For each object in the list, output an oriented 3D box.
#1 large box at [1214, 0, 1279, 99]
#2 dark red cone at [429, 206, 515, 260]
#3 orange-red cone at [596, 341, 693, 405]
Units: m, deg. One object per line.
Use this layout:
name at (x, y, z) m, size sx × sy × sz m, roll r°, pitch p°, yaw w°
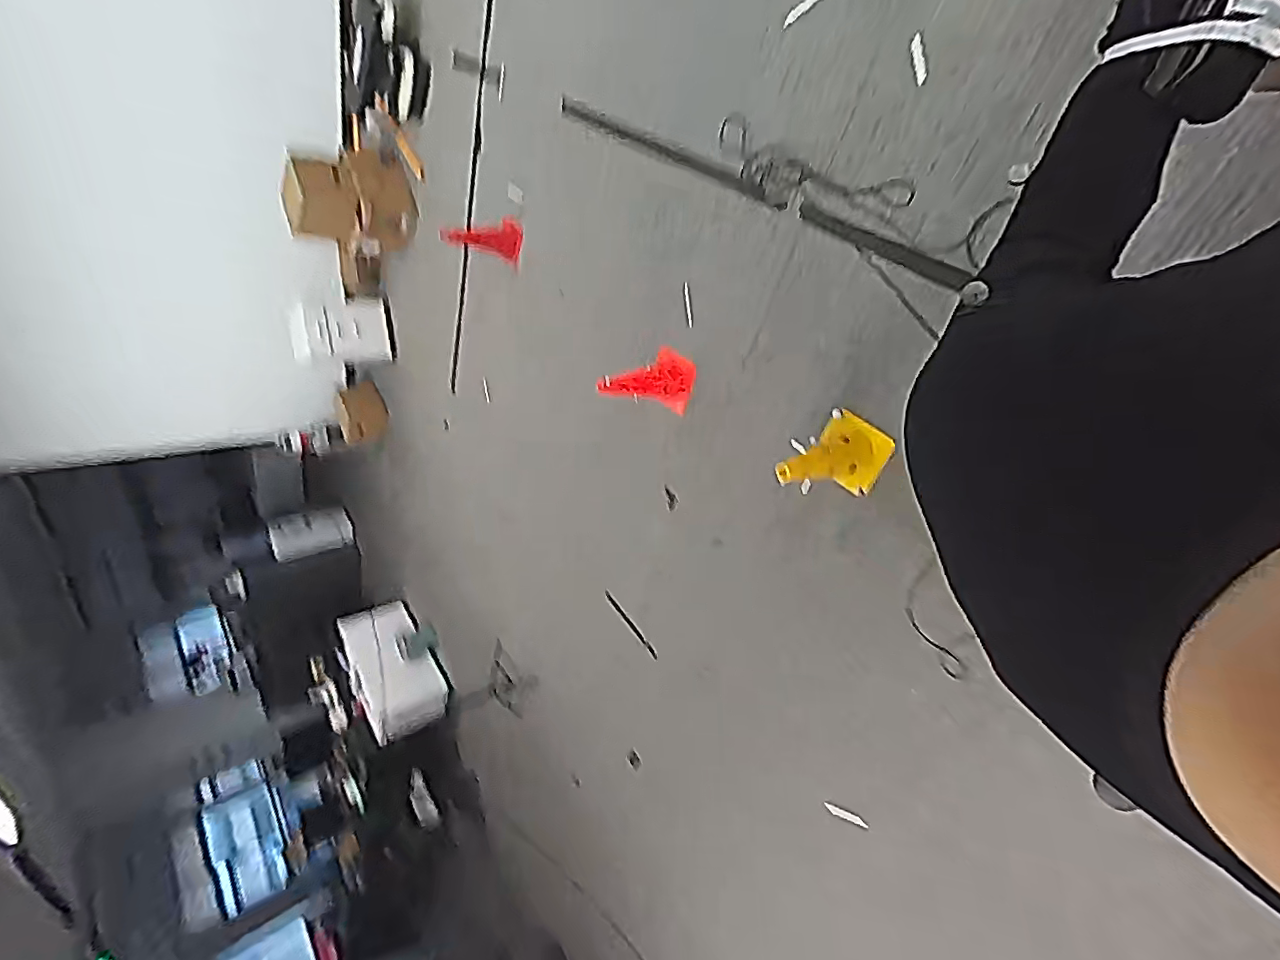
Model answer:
large box at (0.613, -0.391, 0.246) m, size 0.408 × 0.320 × 0.320 m, roll 29°, pitch 129°, yaw 38°
dark red cone at (-0.803, -1.196, 2.571) m, size 0.202 × 0.394 × 0.201 m, roll 49°, pitch 132°, yaw 27°
orange-red cone at (-0.009, -0.373, 1.952) m, size 0.199 × 0.360 × 0.198 m, roll 41°, pitch 130°, yaw 32°
